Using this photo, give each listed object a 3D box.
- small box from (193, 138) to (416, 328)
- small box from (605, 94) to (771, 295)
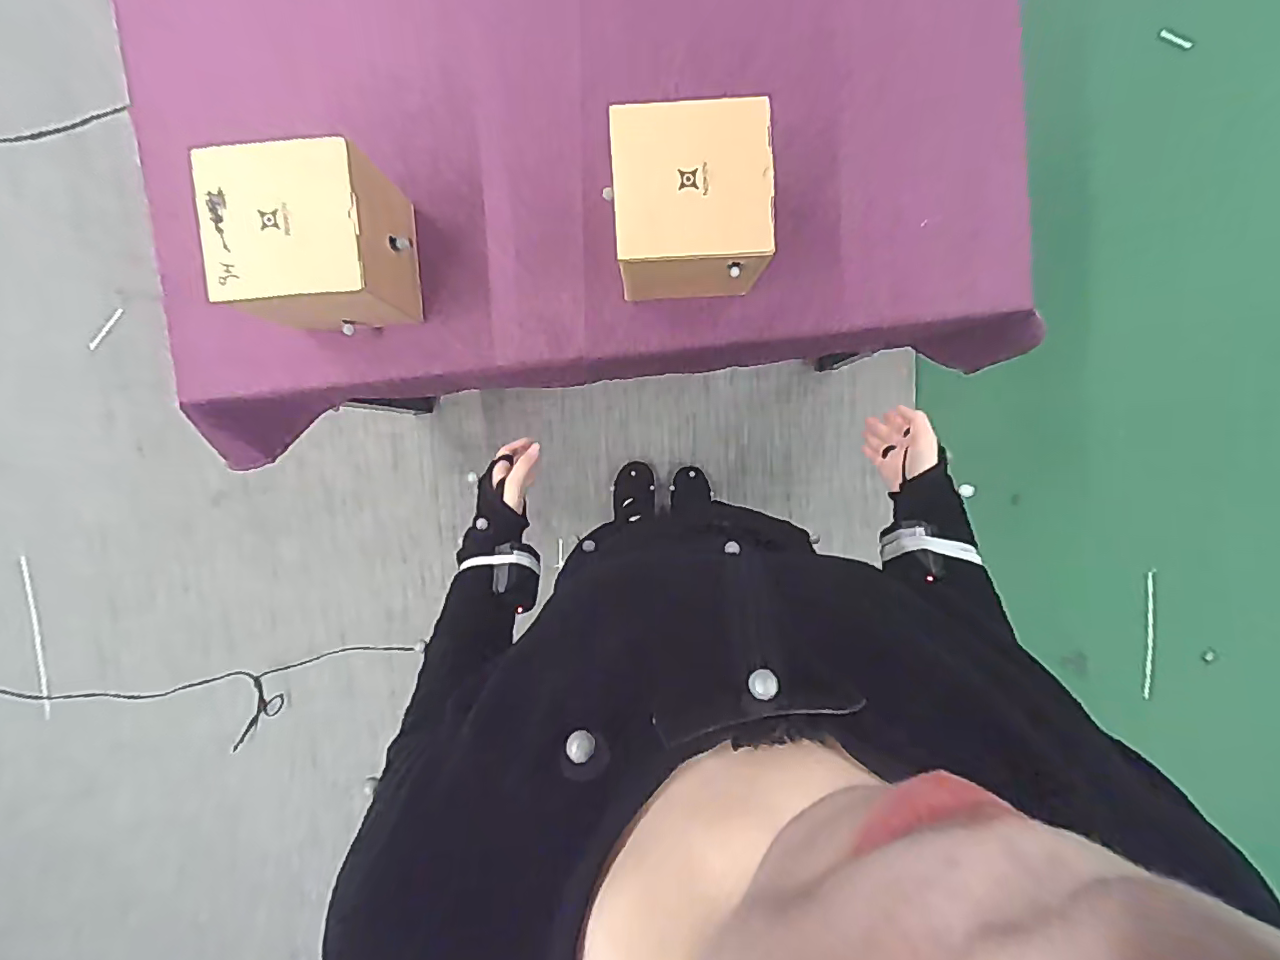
[{"bbox_3d":[-0.396,-0.293,0.674,0.179,0.176,0.168,-4,94,0],"label":"small box"},{"bbox_3d":[0.055,-0.334,0.665,0.179,0.176,0.168,-3,94,1],"label":"small box"}]
